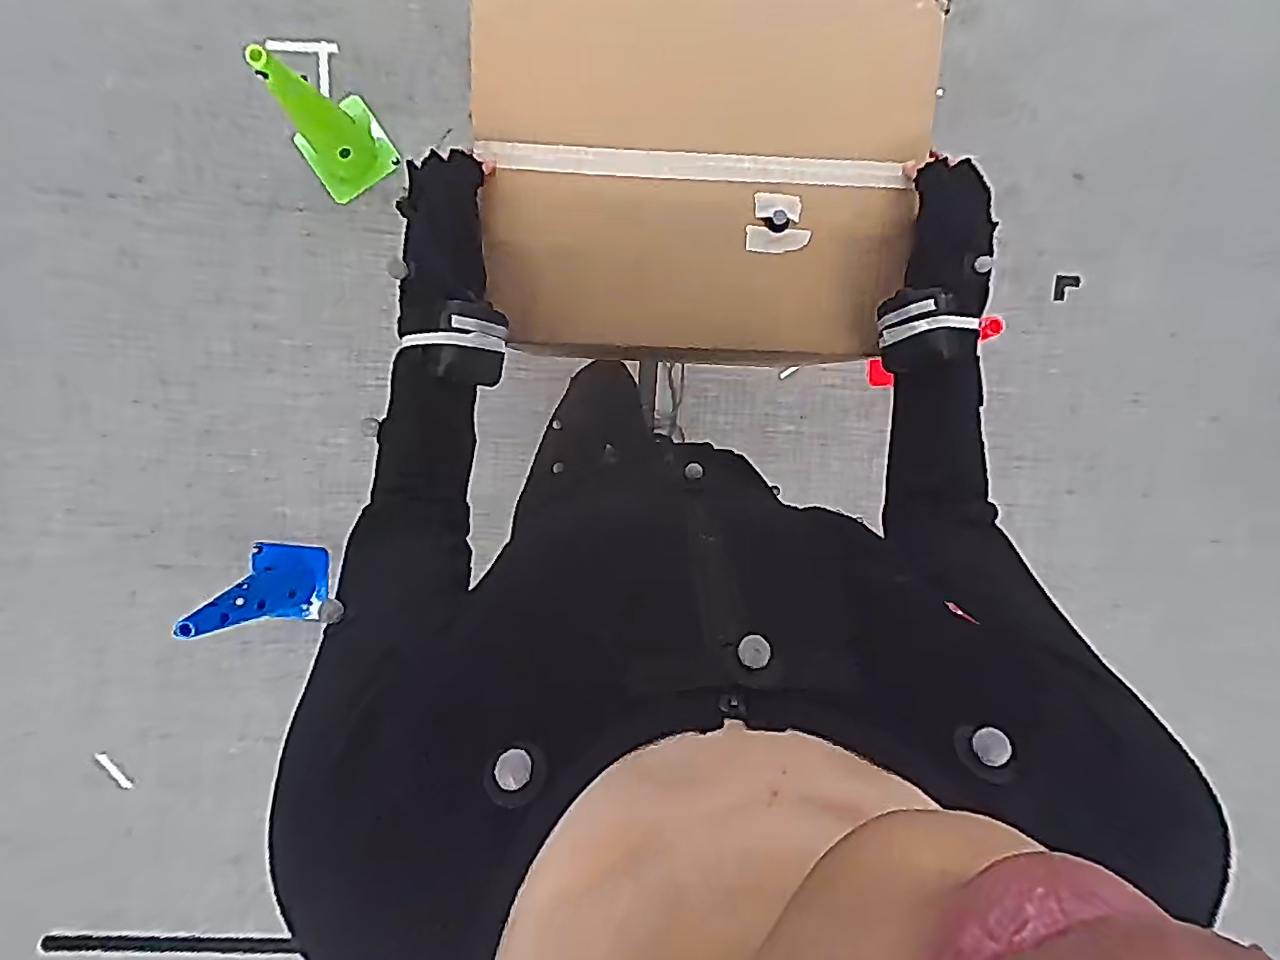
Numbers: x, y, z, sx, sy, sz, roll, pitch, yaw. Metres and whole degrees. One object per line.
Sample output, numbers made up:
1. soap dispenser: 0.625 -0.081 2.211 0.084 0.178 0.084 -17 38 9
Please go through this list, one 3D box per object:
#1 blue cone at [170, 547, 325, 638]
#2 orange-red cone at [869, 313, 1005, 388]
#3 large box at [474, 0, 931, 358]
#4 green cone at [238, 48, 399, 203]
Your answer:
1. blue cone: -0.947 0.293 1.300 0.192 0.380 0.193 6 95 -2
2. orange-red cone: 0.727 -0.340 1.293 0.198 0.360 0.199 0 94 -3
3. large box: 0.045 -0.311 0.631 0.408 0.320 0.320 1 100 -4
4. green cone: -0.732 -0.812 1.187 0.202 0.368 0.200 -34 95 3
